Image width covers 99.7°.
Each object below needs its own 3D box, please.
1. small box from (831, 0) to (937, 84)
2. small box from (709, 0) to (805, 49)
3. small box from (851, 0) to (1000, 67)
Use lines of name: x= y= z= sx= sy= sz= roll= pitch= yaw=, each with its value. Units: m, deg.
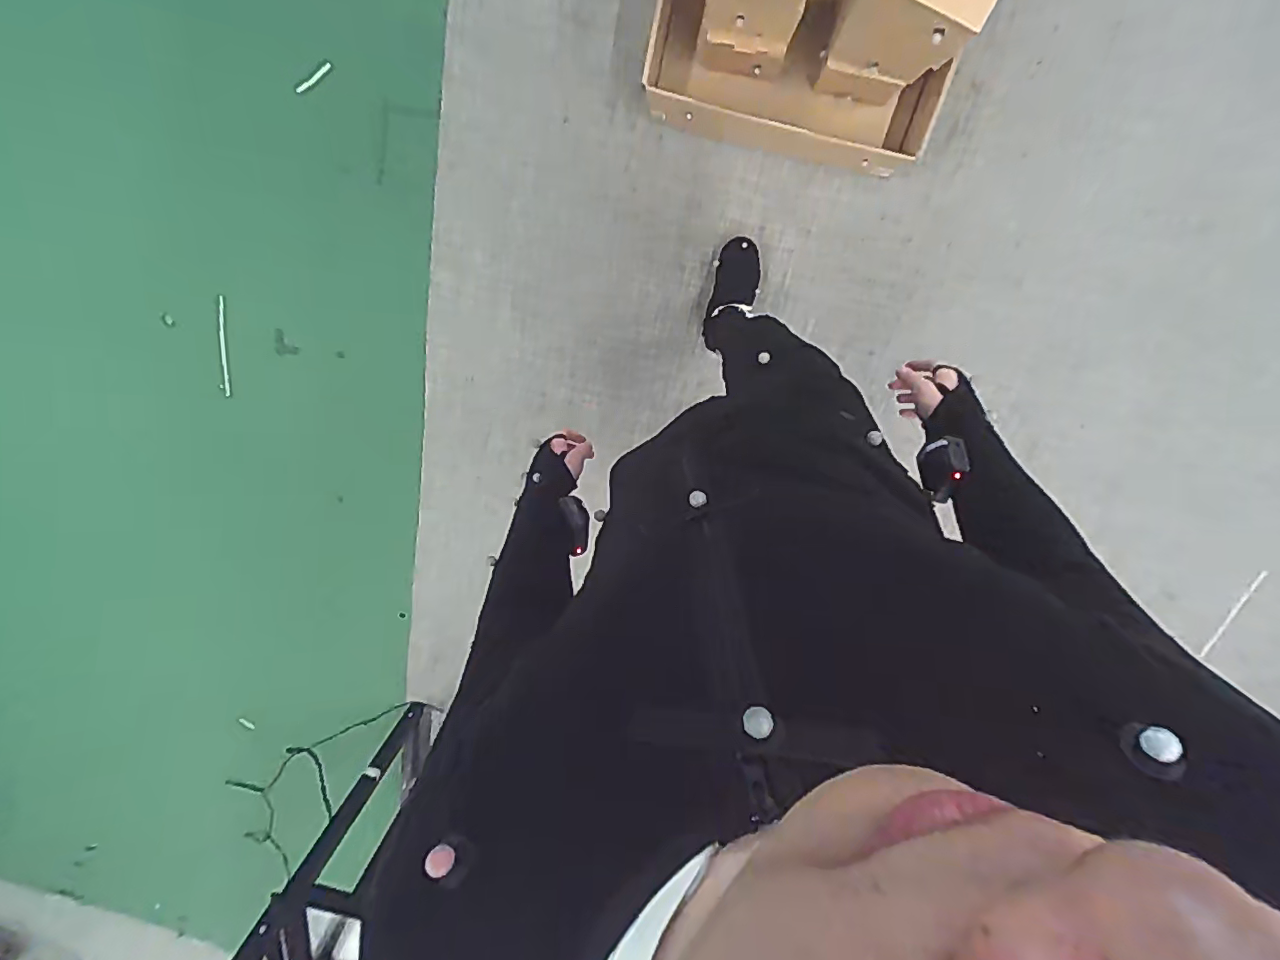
small box: x=0.469 y=-0.845 z=0.969 sx=0.179 sy=0.176 sz=0.168 roll=18 pitch=112 yaw=1
small box: x=0.225 y=-0.922 z=0.977 sx=0.168 sy=0.176 sz=0.179 roll=12 pitch=112 yaw=0
small box: x=0.454 y=-0.771 z=0.821 sx=0.179 sy=0.176 sz=0.168 roll=25 pitch=112 yaw=-2
